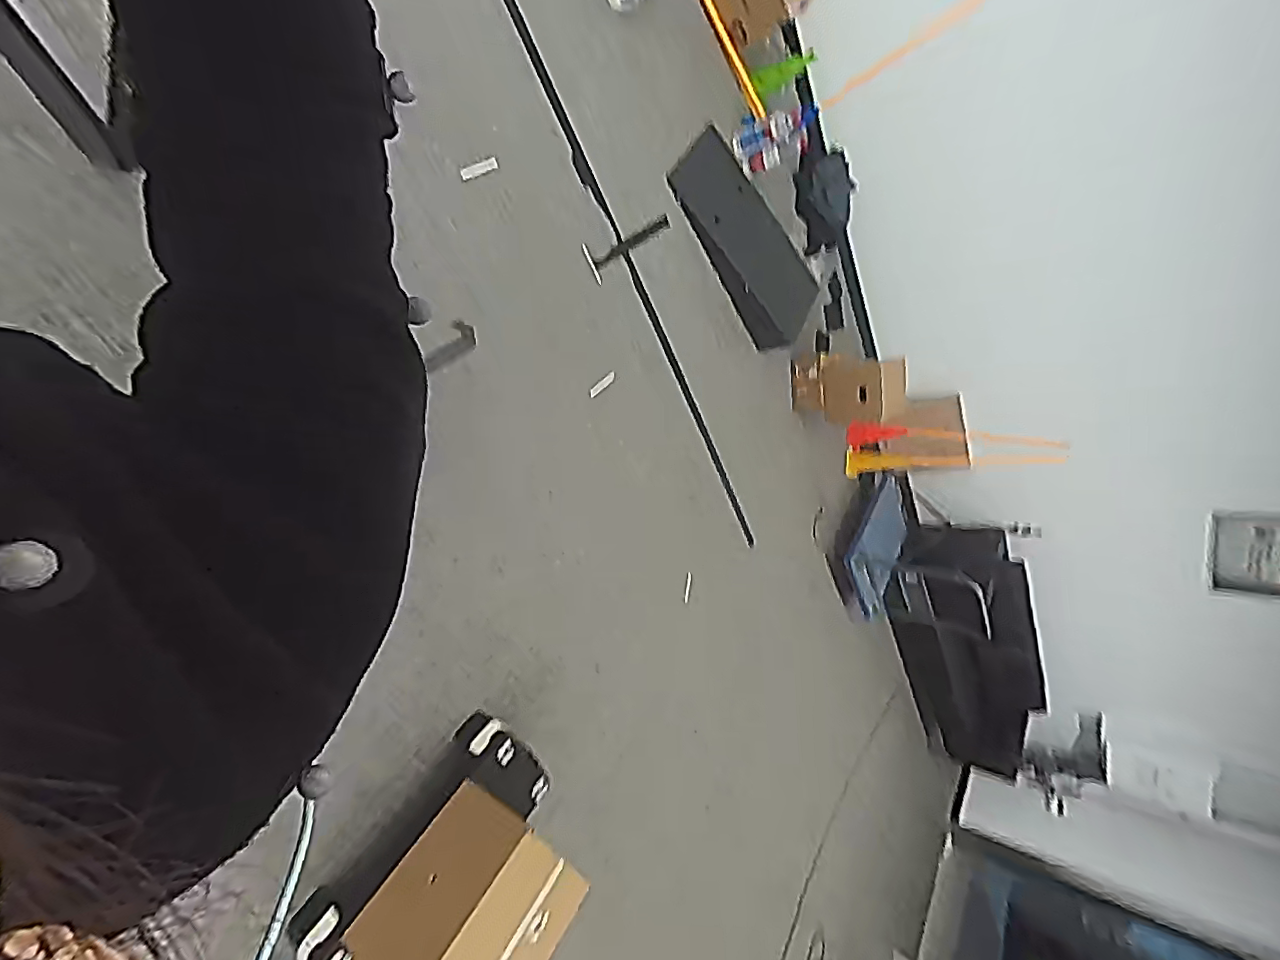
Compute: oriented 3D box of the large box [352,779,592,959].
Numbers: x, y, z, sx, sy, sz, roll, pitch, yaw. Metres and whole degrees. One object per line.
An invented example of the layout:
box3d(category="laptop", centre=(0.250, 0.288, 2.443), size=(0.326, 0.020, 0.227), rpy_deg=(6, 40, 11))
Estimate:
box3d(category="large box", centre=(-0.401, 1.051, 1.333), size=(0.408, 0.320, 0.320), rpy_deg=(-50, 125, -35))
